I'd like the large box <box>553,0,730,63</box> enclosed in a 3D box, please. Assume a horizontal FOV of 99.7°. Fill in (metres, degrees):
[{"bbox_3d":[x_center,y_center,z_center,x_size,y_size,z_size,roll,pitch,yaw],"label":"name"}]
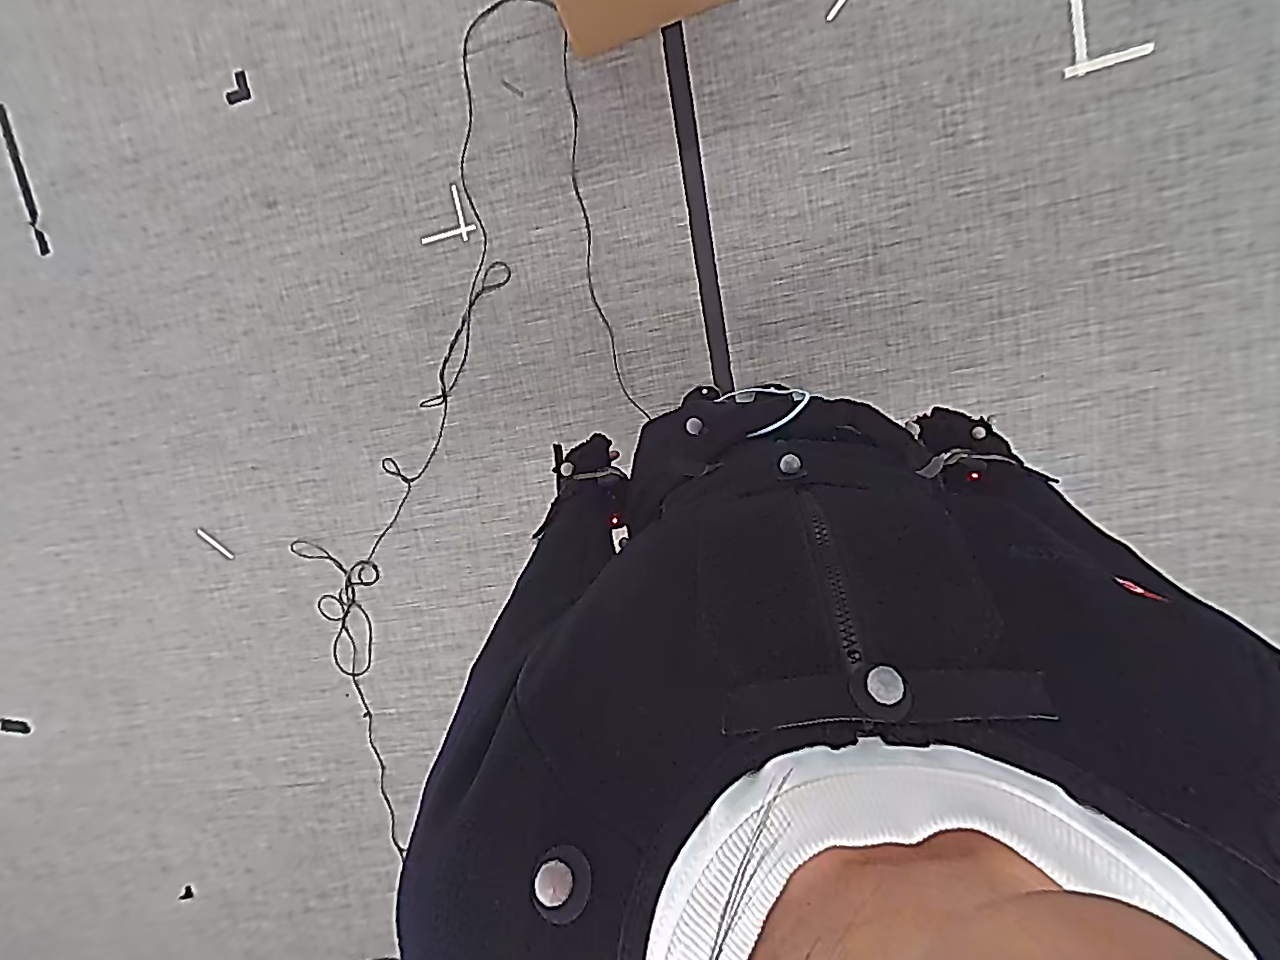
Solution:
[{"bbox_3d":[-0.025,-1.170,1.110,0.408,0.320,0.320,-16,99,8],"label":"large box"}]
